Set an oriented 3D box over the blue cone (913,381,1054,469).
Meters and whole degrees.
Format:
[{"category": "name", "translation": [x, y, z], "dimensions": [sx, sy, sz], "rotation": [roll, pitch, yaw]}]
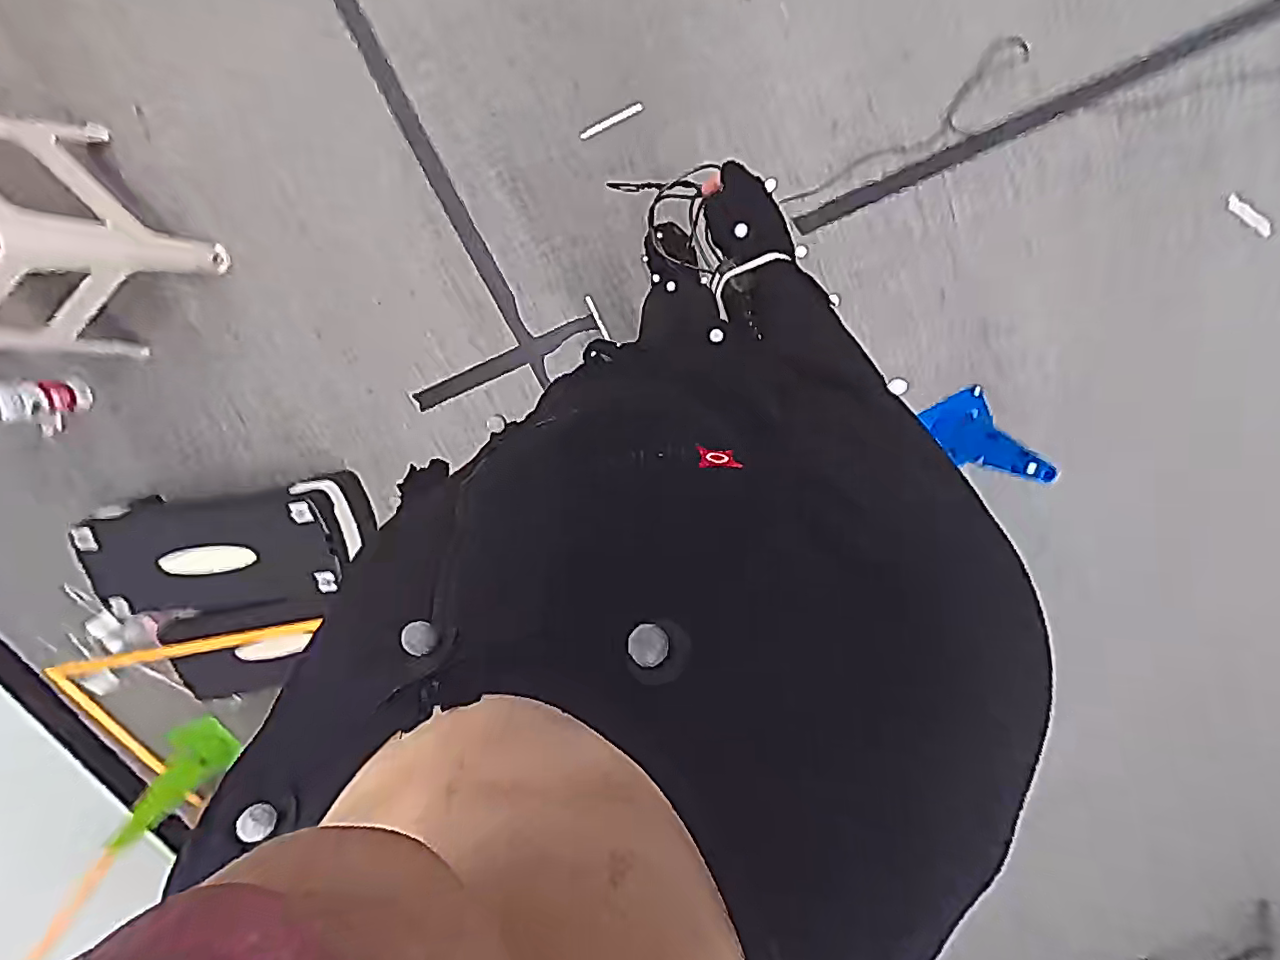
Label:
[{"category": "blue cone", "translation": [0.848, -0.092, 1.296], "dimensions": [0.193, 0.380, 0.192], "rotation": [-28, 106, 9]}]
